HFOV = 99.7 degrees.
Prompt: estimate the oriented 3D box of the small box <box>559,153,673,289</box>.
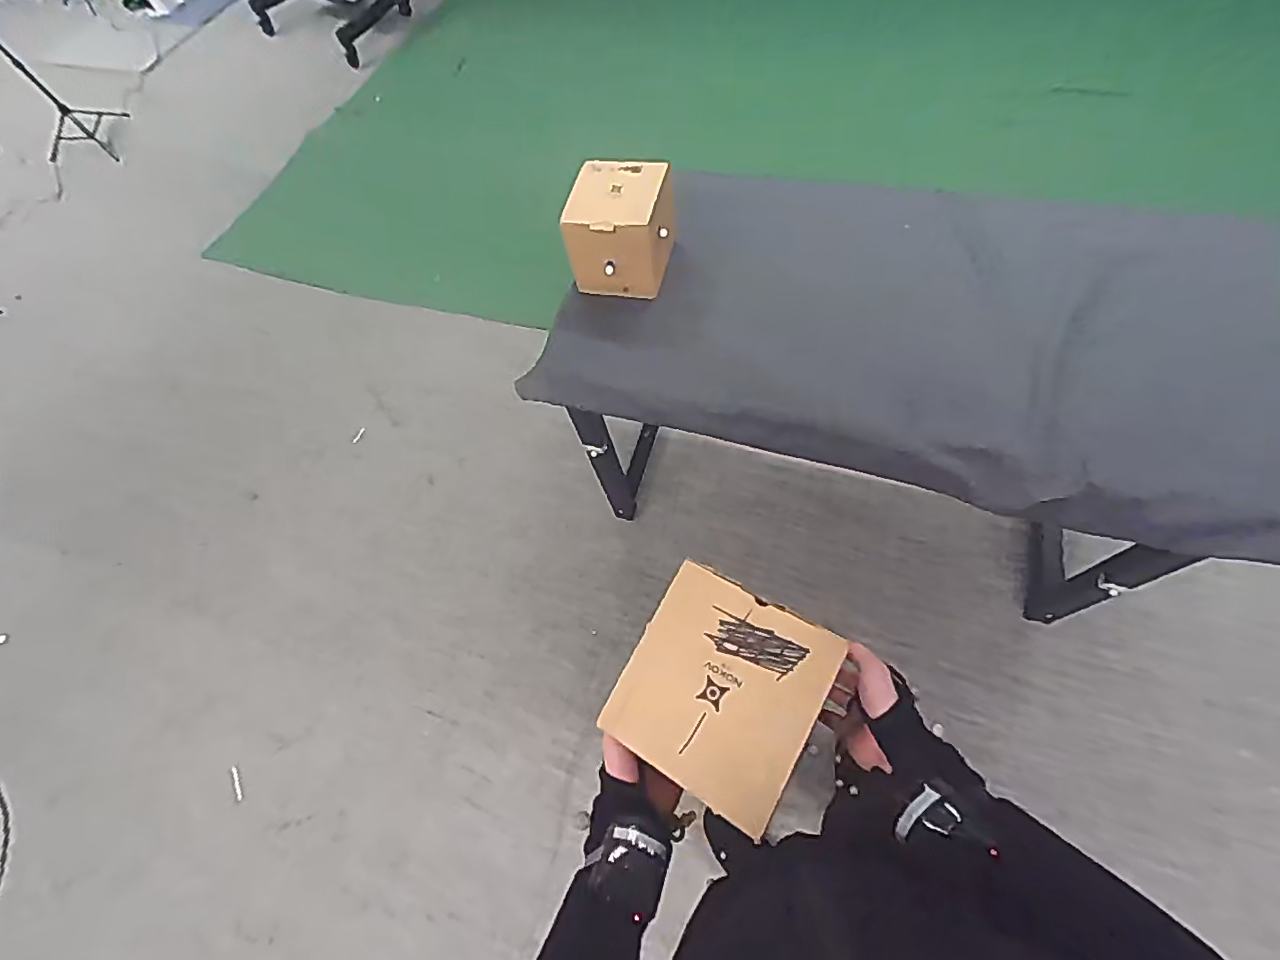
[{"bbox_3d":[-0.035,-0.493,1.041,0.168,0.176,0.179,9,66,13],"label":"small box"}]
